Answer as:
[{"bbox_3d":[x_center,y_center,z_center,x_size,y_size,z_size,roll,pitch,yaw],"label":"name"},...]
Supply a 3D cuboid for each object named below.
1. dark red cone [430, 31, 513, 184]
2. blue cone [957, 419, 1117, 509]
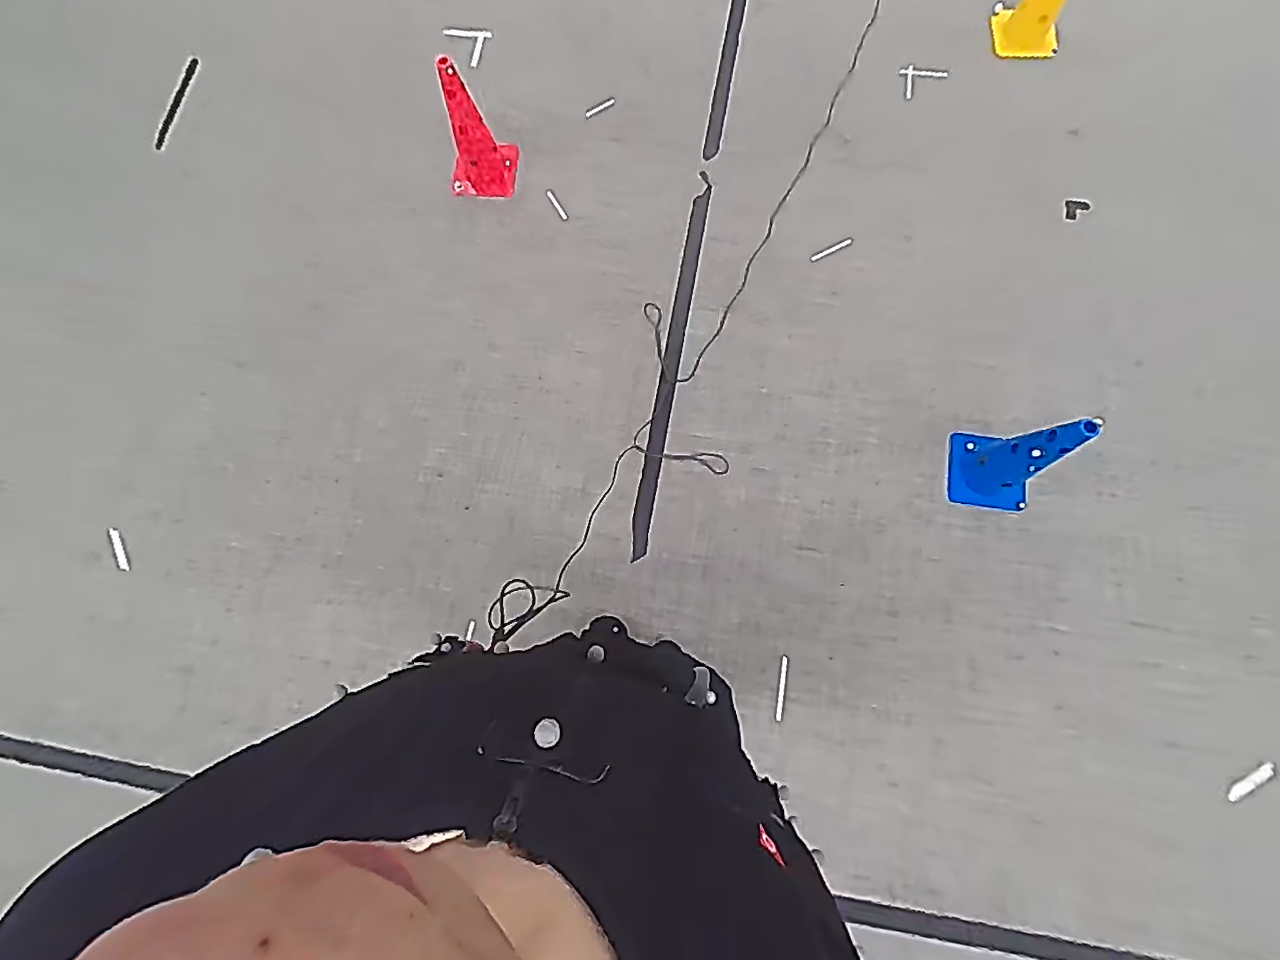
[{"bbox_3d":[-0.503,-1.048,1.527,0.201,0.394,0.202,2,76,1],"label":"dark red cone"},{"bbox_3d":[0.932,-0.063,1.265,0.192,0.380,0.193,10,77,3],"label":"blue cone"}]
